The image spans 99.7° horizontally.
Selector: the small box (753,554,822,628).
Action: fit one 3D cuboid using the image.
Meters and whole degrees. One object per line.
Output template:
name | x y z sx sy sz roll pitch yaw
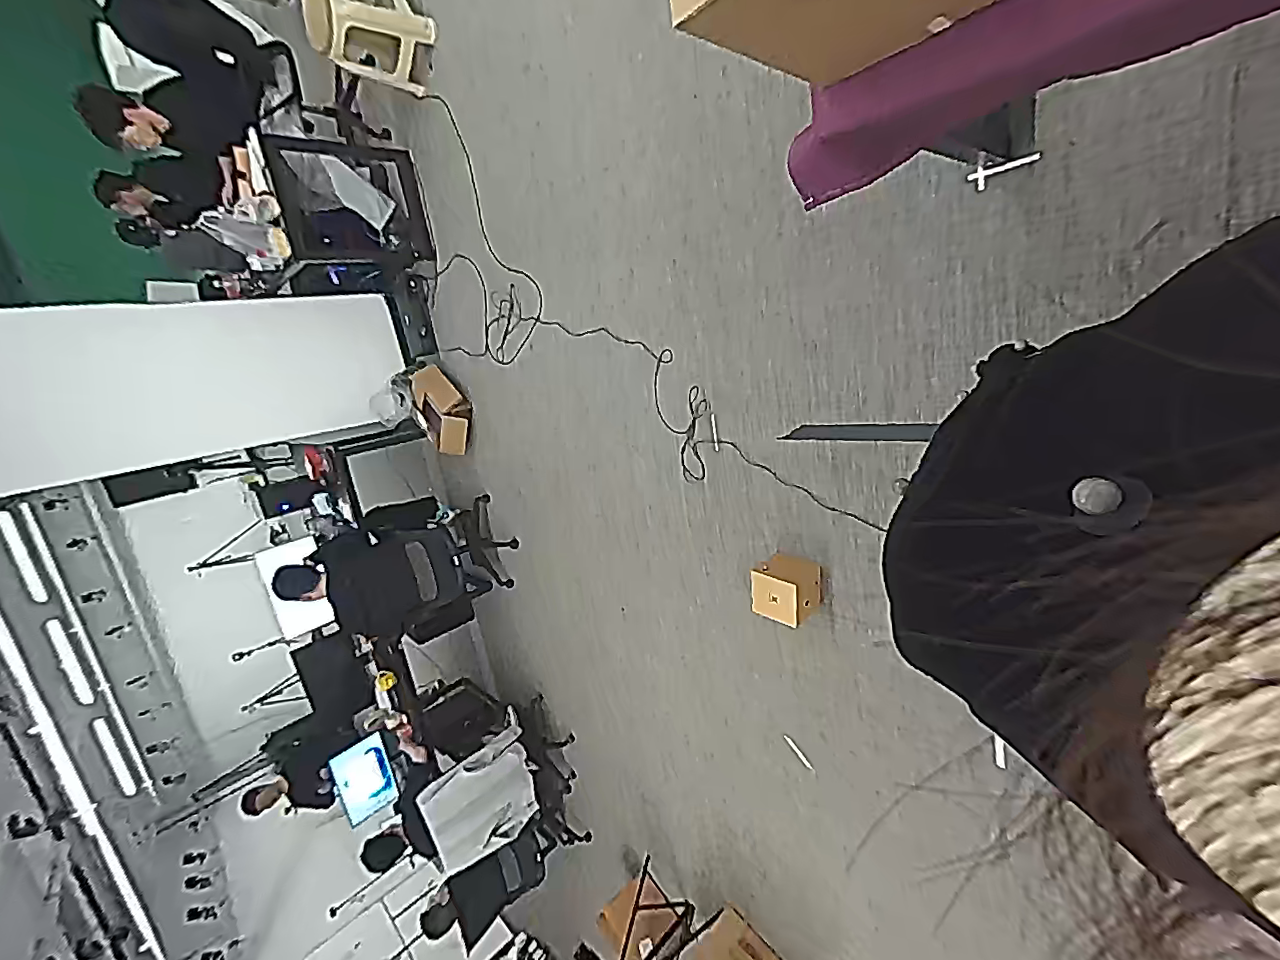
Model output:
small box | 0.510 0.373 1.854 0.179 0.176 0.168 14 117 45
